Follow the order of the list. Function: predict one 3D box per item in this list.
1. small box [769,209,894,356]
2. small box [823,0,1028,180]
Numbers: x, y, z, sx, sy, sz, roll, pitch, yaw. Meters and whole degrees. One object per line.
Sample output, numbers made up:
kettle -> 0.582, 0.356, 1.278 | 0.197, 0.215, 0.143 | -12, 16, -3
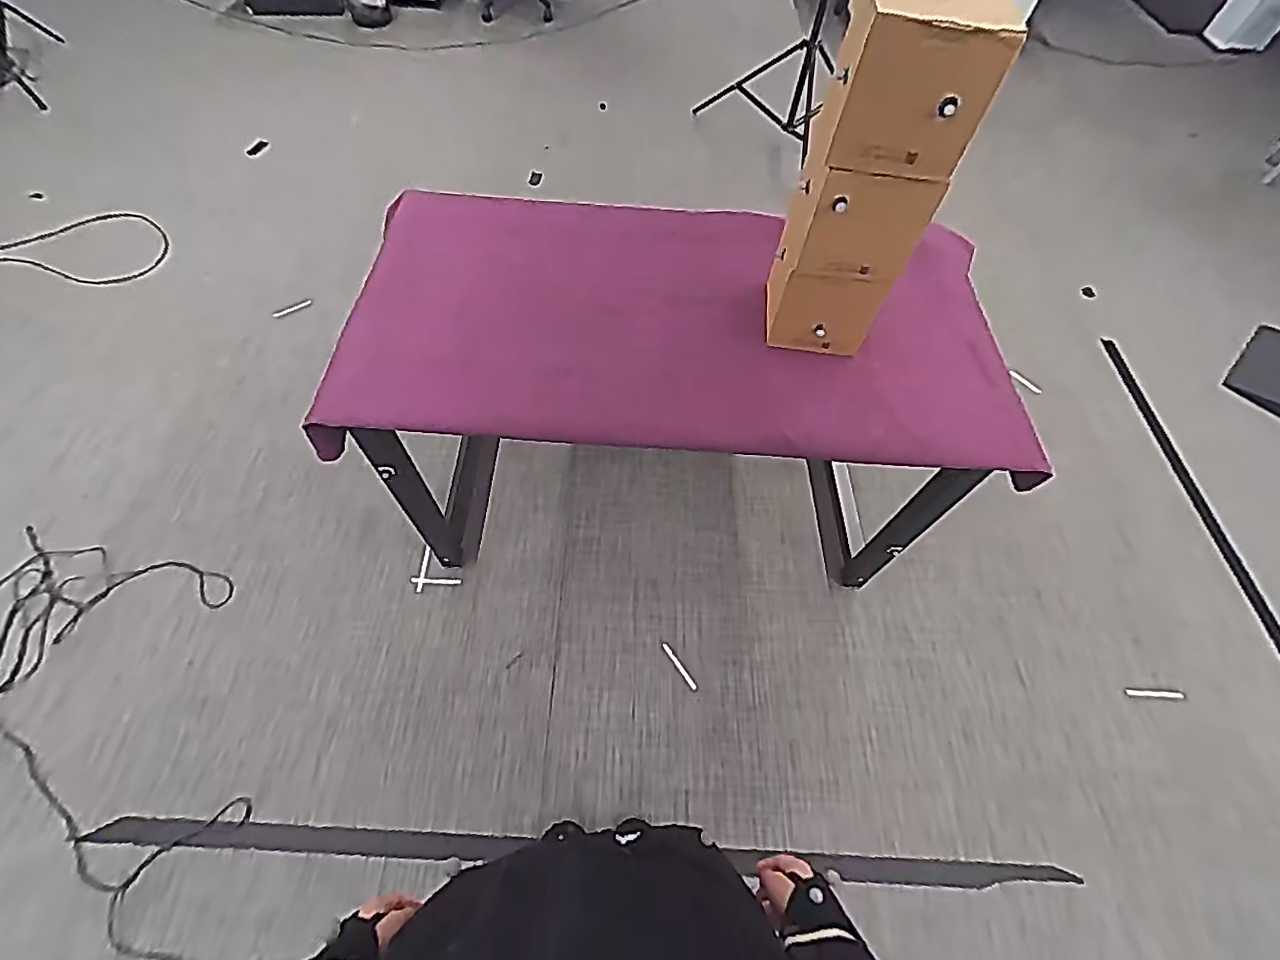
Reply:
small box -> 0.332, -0.352, 0.972 | 0.168, 0.176, 0.179 | 7, 59, 2
small box -> 0.343, -0.515, 0.689 | 0.168, 0.176, 0.179 | 10, 58, 2
